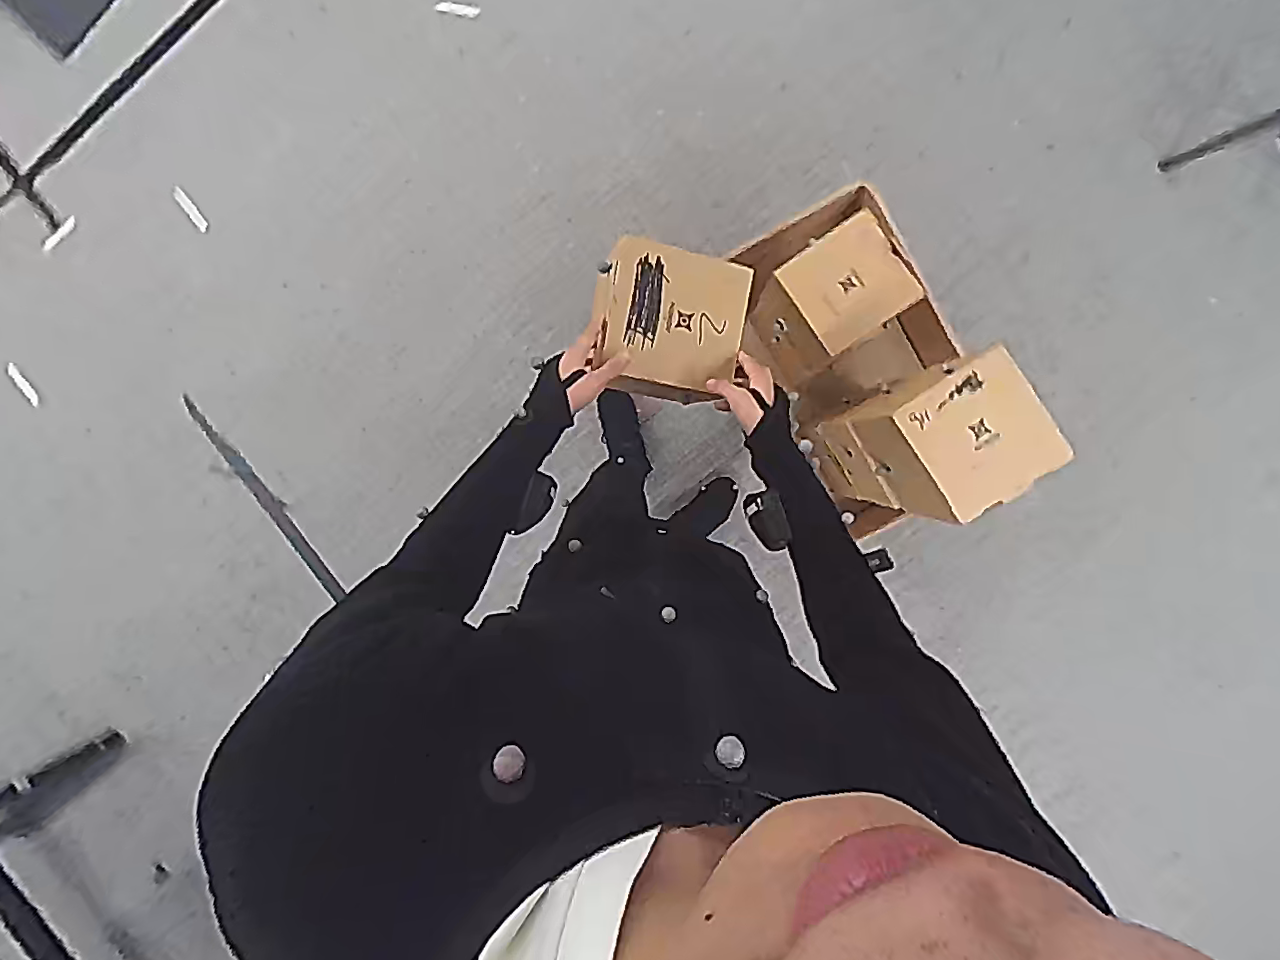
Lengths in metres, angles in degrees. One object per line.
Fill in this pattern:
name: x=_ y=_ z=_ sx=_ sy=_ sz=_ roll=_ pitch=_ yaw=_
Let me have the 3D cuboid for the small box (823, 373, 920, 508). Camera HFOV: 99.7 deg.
small box: x=0.439 y=-0.068 z=0.938 sx=0.179 sy=0.176 sz=0.168 roll=-30 pitch=92 yaw=4

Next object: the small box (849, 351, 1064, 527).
small box: x=0.435 y=-0.058 z=0.774 sx=0.168 sy=0.176 sz=0.179 roll=-32 pitch=92 yaw=3

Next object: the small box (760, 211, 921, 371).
small box: x=0.329 y=-0.310 z=0.926 sx=0.179 sy=0.176 sz=0.168 roll=-34 pitch=90 yaw=4
